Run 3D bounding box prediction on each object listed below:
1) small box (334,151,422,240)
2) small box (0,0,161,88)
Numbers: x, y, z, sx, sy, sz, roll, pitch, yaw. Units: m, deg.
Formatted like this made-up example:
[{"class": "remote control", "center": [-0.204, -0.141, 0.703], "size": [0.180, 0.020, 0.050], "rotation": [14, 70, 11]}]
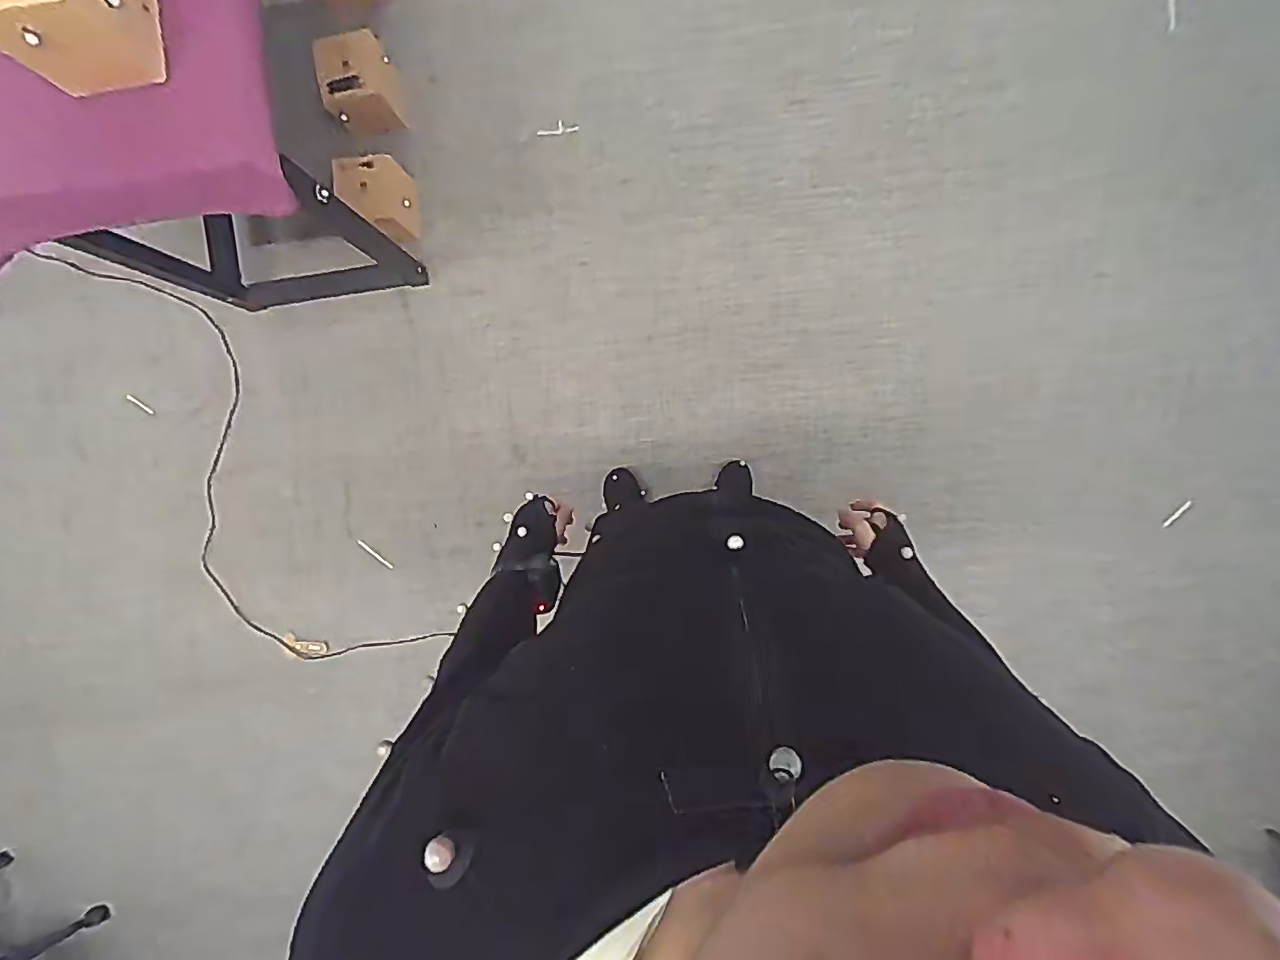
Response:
[{"class": "small box", "center": [-0.743, -0.806, 1.553], "size": [0.168, 0.176, 0.179], "rotation": [-3, 93, 3]}, {"class": "small box", "center": [-0.894, -0.752, 0.837], "size": [0.179, 0.176, 0.168], "rotation": [-5, 92, 4]}]
